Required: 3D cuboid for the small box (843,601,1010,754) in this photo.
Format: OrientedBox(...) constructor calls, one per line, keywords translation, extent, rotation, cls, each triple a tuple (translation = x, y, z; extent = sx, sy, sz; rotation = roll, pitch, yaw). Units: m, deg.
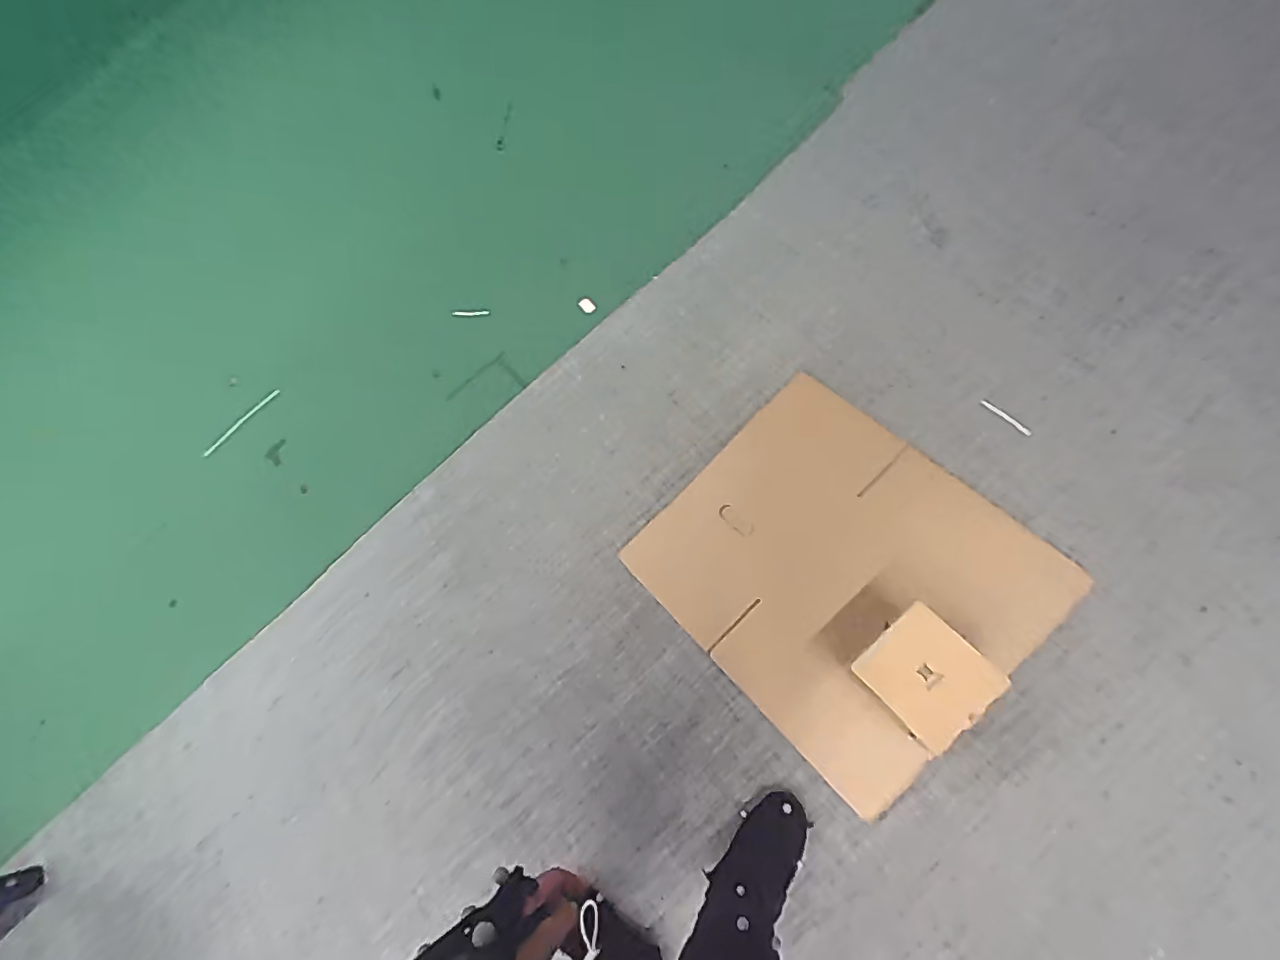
OrientedBox(translation=(0.476, 0.336, 0.933), extent=(0.168, 0.176, 0.179), rotation=(-43, 67, -2), cls="small box")
